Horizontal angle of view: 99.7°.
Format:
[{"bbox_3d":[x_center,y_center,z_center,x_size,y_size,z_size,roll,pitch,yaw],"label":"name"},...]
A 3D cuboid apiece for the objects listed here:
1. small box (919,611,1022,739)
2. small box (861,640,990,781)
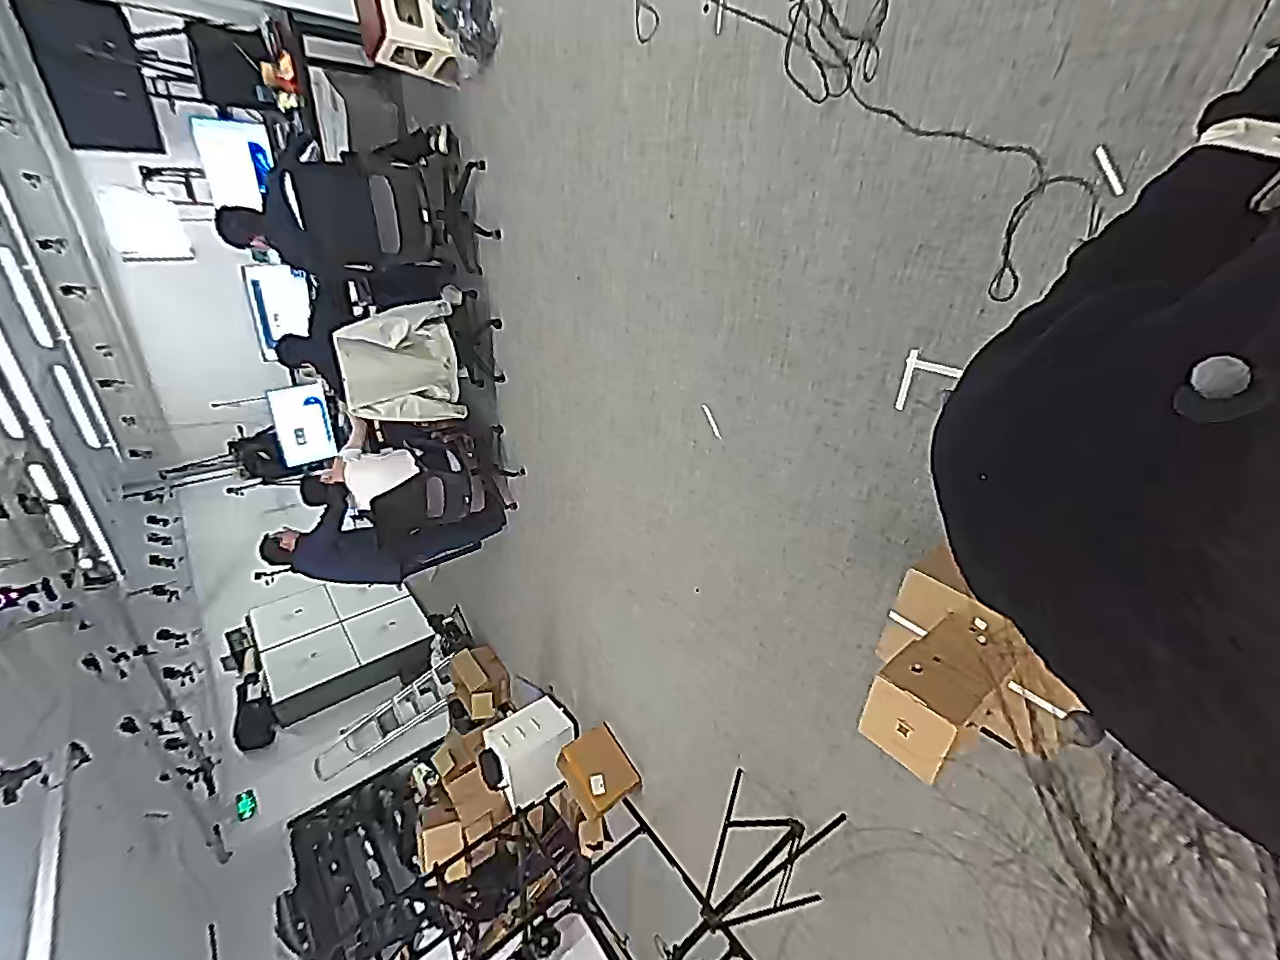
[{"bbox_3d":[0.724,0.433,1.222,0.168,0.176,0.179,32,128,41],"label":"small box"},{"bbox_3d":[0.597,0.469,1.129,0.168,0.176,0.179,31,130,43],"label":"small box"}]
